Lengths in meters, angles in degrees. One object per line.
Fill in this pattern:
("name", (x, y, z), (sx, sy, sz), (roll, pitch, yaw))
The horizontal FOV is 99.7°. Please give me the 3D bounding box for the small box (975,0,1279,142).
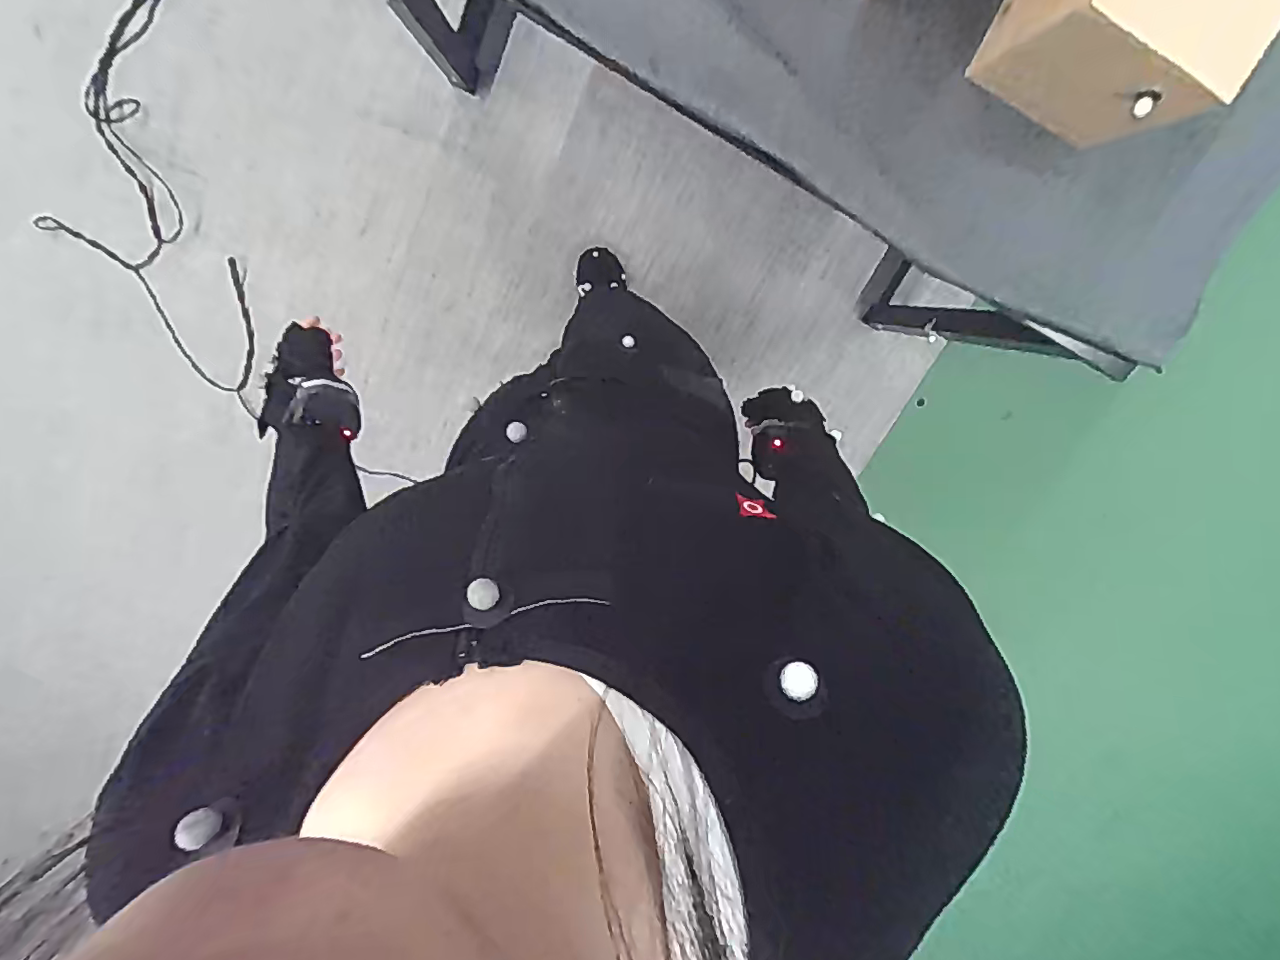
("small box", (0.486, -0.463, 0.527), (0.179, 0.176, 0.168), (23, 106, -10))
